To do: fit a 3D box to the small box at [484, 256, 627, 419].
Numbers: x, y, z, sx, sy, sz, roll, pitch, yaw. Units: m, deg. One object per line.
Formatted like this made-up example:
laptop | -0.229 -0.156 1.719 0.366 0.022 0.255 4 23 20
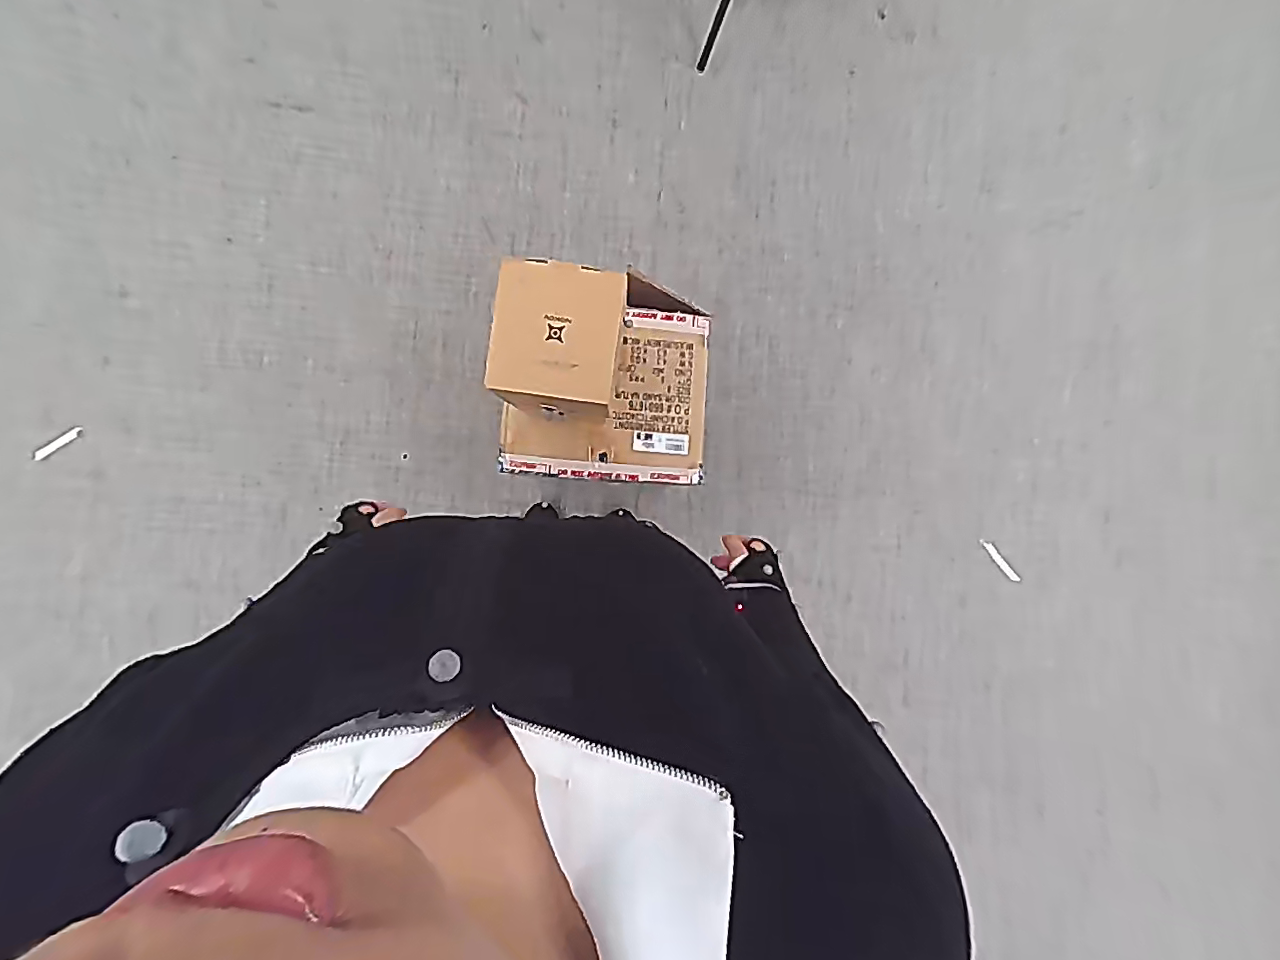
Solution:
small box | -0.112 -0.192 0.776 0.168 0.176 0.179 7 90 -1
